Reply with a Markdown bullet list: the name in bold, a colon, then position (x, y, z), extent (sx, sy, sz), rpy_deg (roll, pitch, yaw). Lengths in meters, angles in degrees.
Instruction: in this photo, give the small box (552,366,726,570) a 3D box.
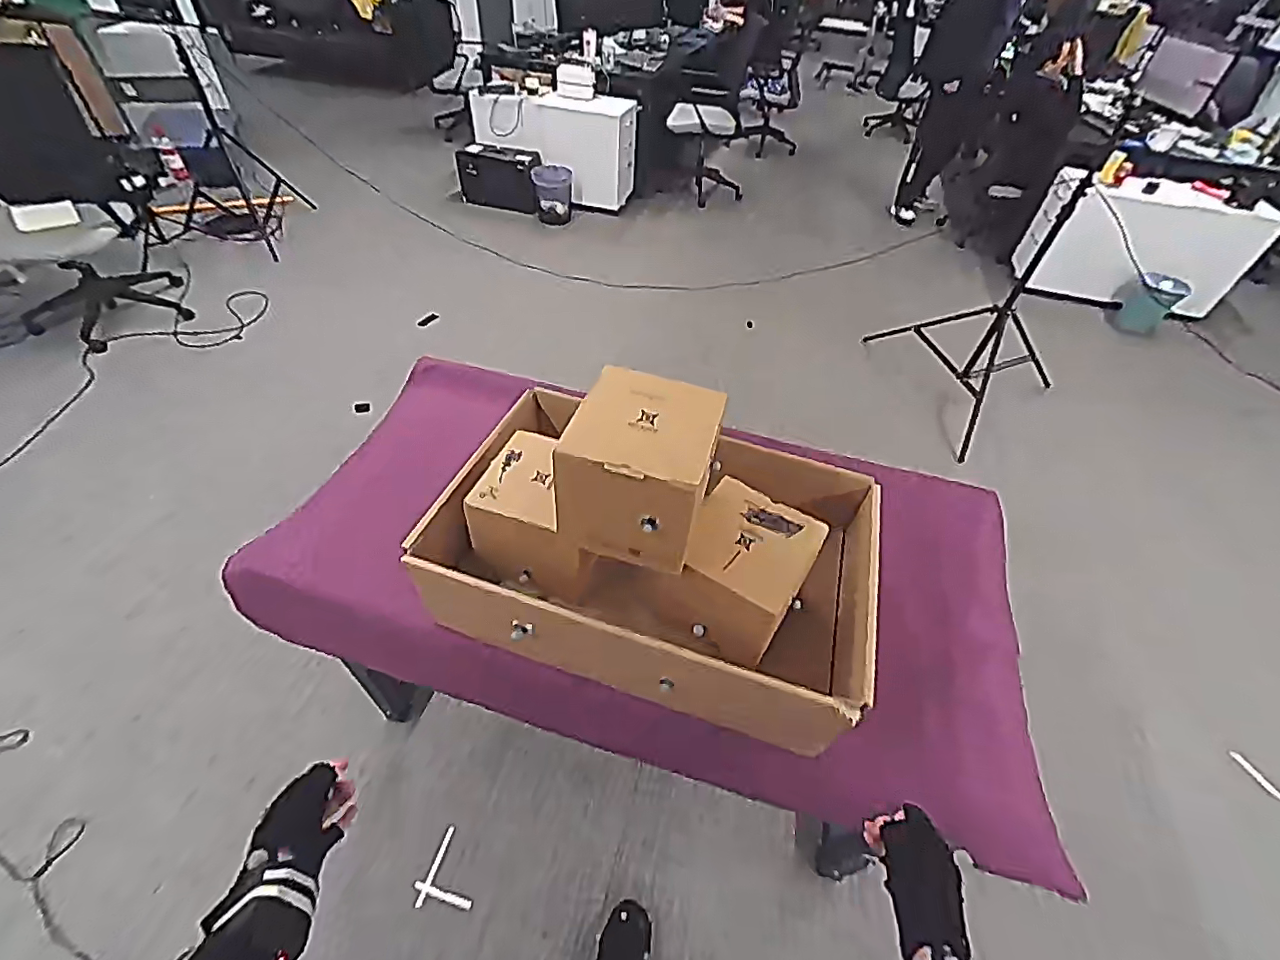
- **small box**: position (0.001, -0.013, 0.686), extent (0.168, 0.176, 0.179), rpy_deg (15, 46, 8)
